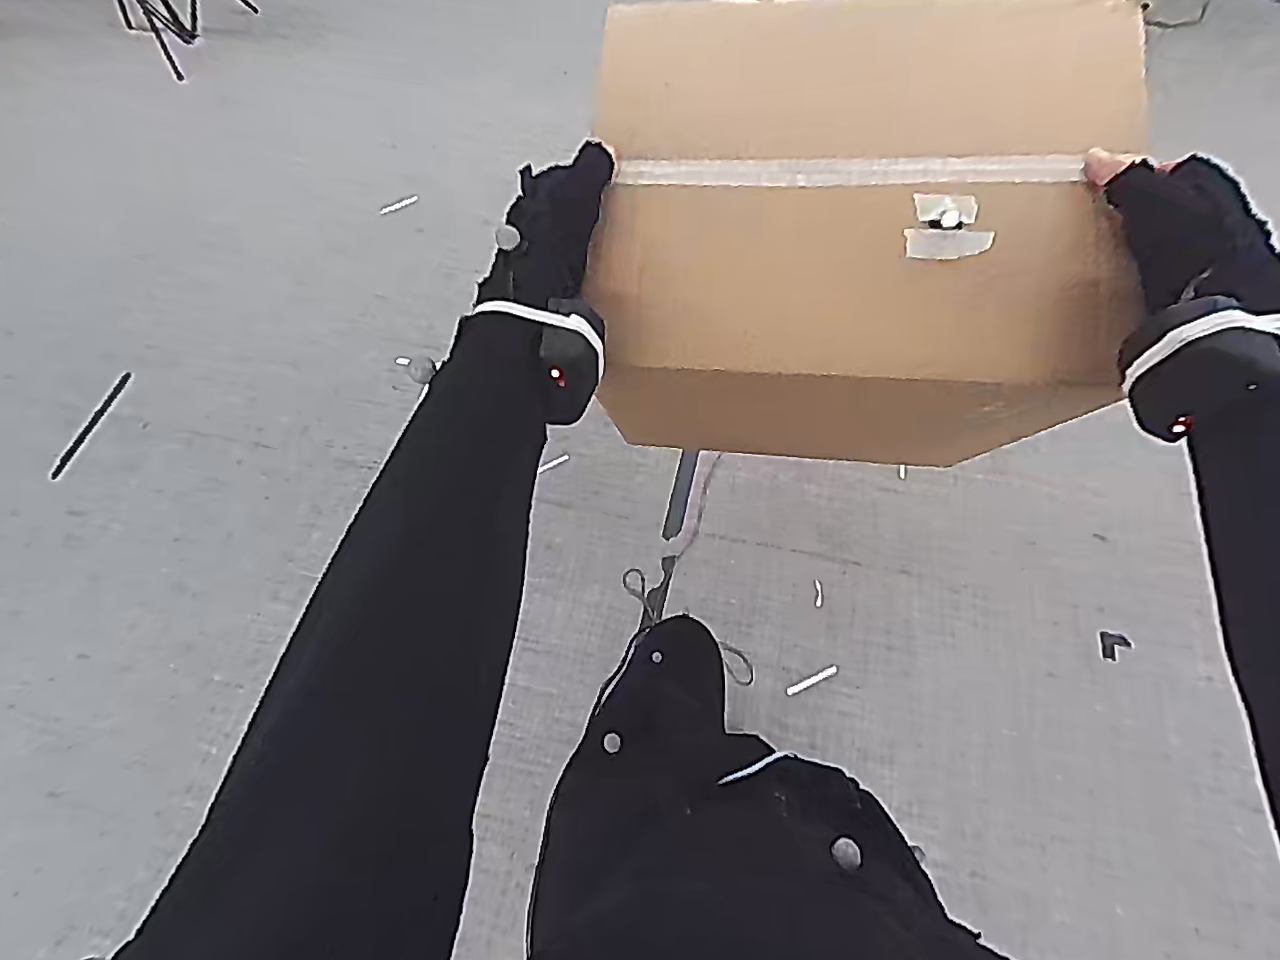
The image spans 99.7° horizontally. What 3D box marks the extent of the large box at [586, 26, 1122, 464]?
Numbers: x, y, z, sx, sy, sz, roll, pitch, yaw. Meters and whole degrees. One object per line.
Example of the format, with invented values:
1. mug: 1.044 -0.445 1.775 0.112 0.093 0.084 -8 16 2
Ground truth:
1. large box: 0.175 -0.200 0.577 0.408 0.320 0.320 4 83 7
